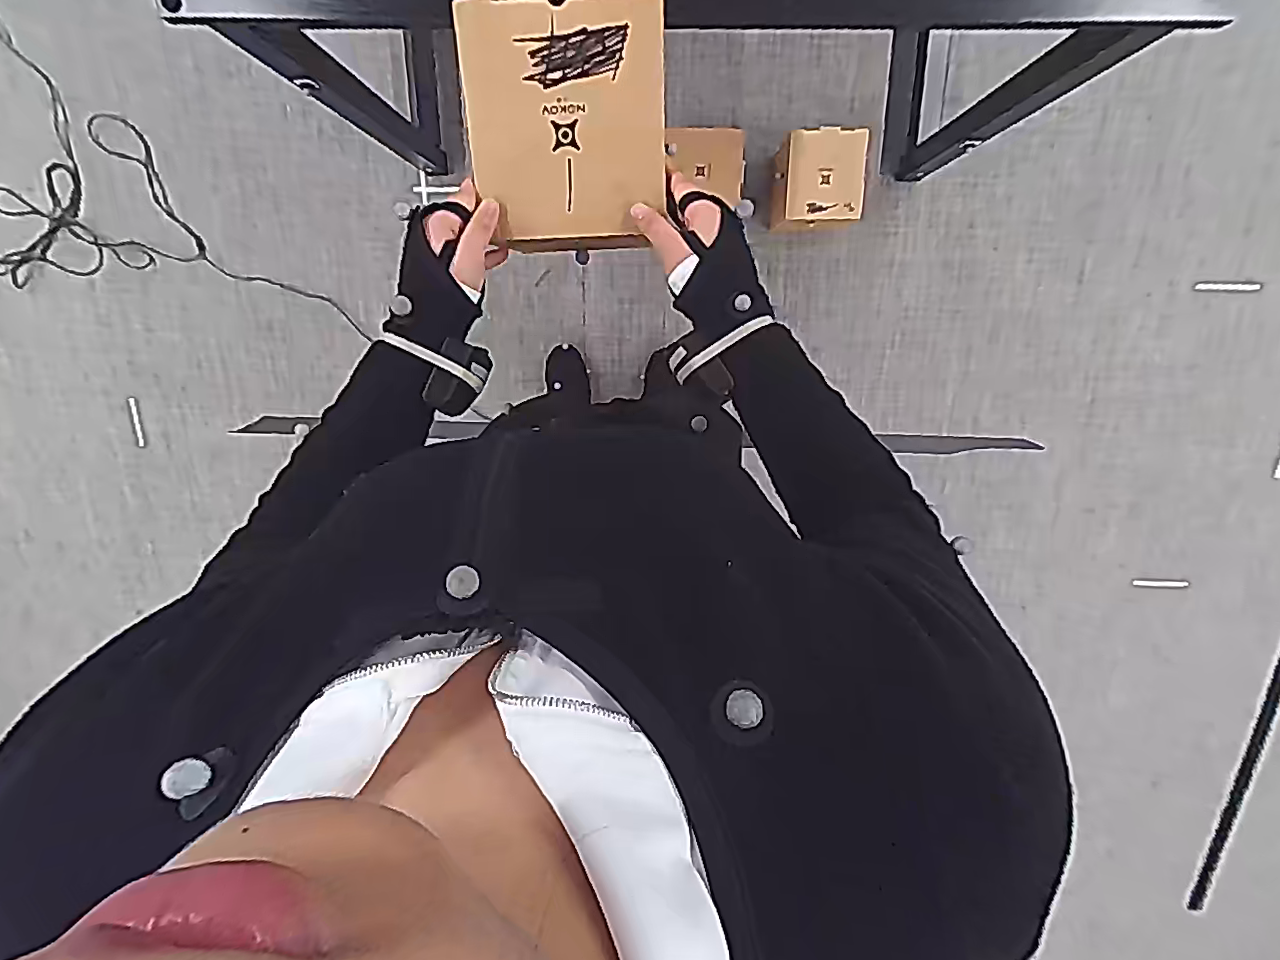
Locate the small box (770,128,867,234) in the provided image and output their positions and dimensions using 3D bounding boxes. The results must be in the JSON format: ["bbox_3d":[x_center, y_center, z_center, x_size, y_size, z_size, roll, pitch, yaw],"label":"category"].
[{"bbox_3d":[0.397,-0.672,1.230,0.168,0.176,0.179,1,105,2],"label":"small box"}]

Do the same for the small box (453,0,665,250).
[{"bbox_3d":[-0.063,-0.325,0.520,0.168,0.176,0.179,-2,110,2],"label":"small box"}]

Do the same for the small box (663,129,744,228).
[{"bbox_3d":[0.134,-0.683,1.238,0.179,0.176,0.168,1,104,3],"label":"small box"}]
